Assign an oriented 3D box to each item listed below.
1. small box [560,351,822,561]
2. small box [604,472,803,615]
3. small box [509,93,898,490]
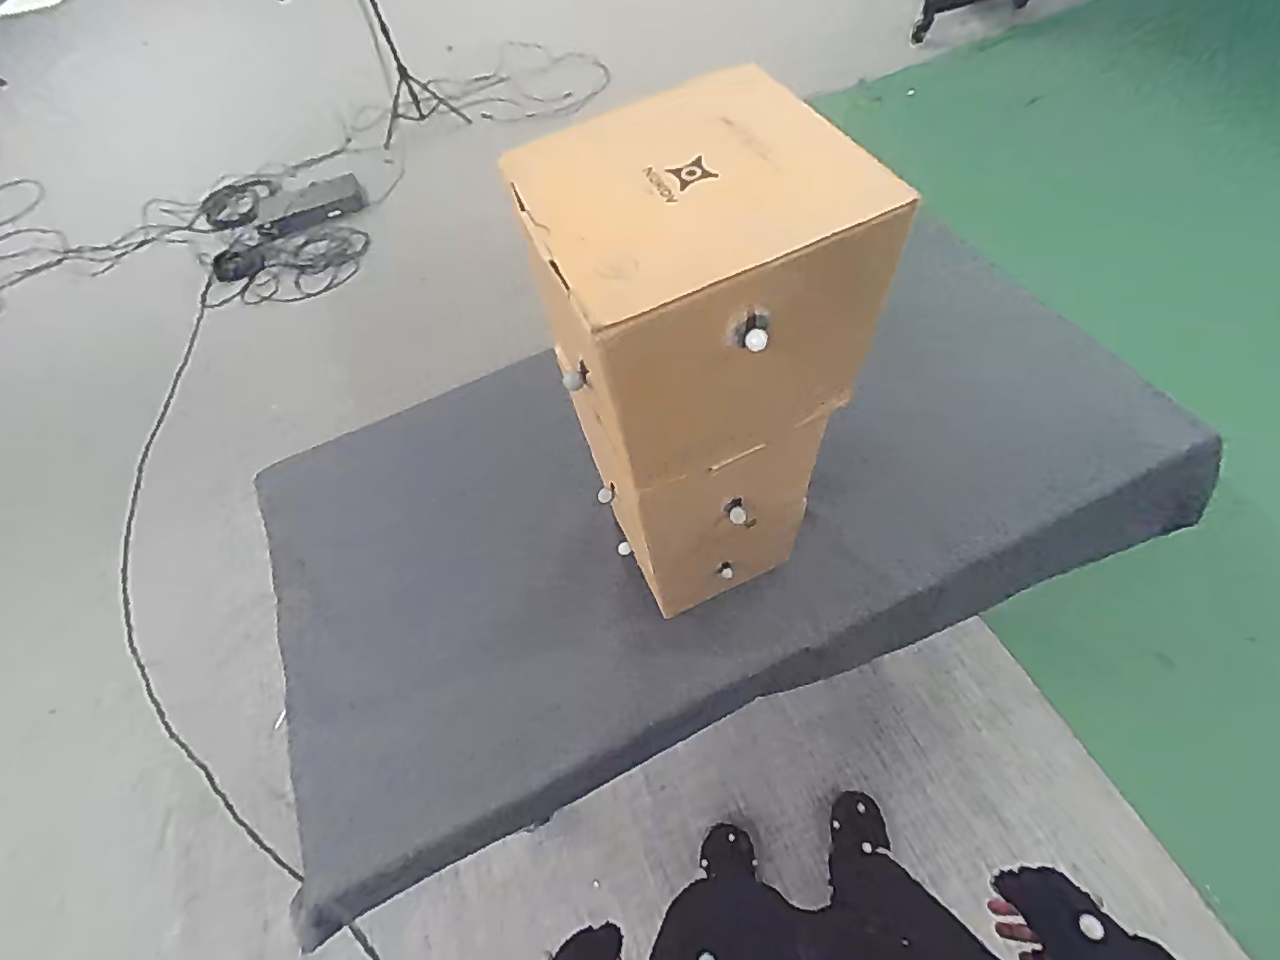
[{"bbox_3d":[0.046,-0.041,0.519,0.168,0.176,0.179,-25,60,-7],"label":"small box"},{"bbox_3d":[0.071,0.040,0.659,0.179,0.176,0.168,-25,59,-6],"label":"small box"},{"bbox_3d":[0.035,-0.120,0.377,0.179,0.176,0.168,-24,60,-7],"label":"small box"}]
